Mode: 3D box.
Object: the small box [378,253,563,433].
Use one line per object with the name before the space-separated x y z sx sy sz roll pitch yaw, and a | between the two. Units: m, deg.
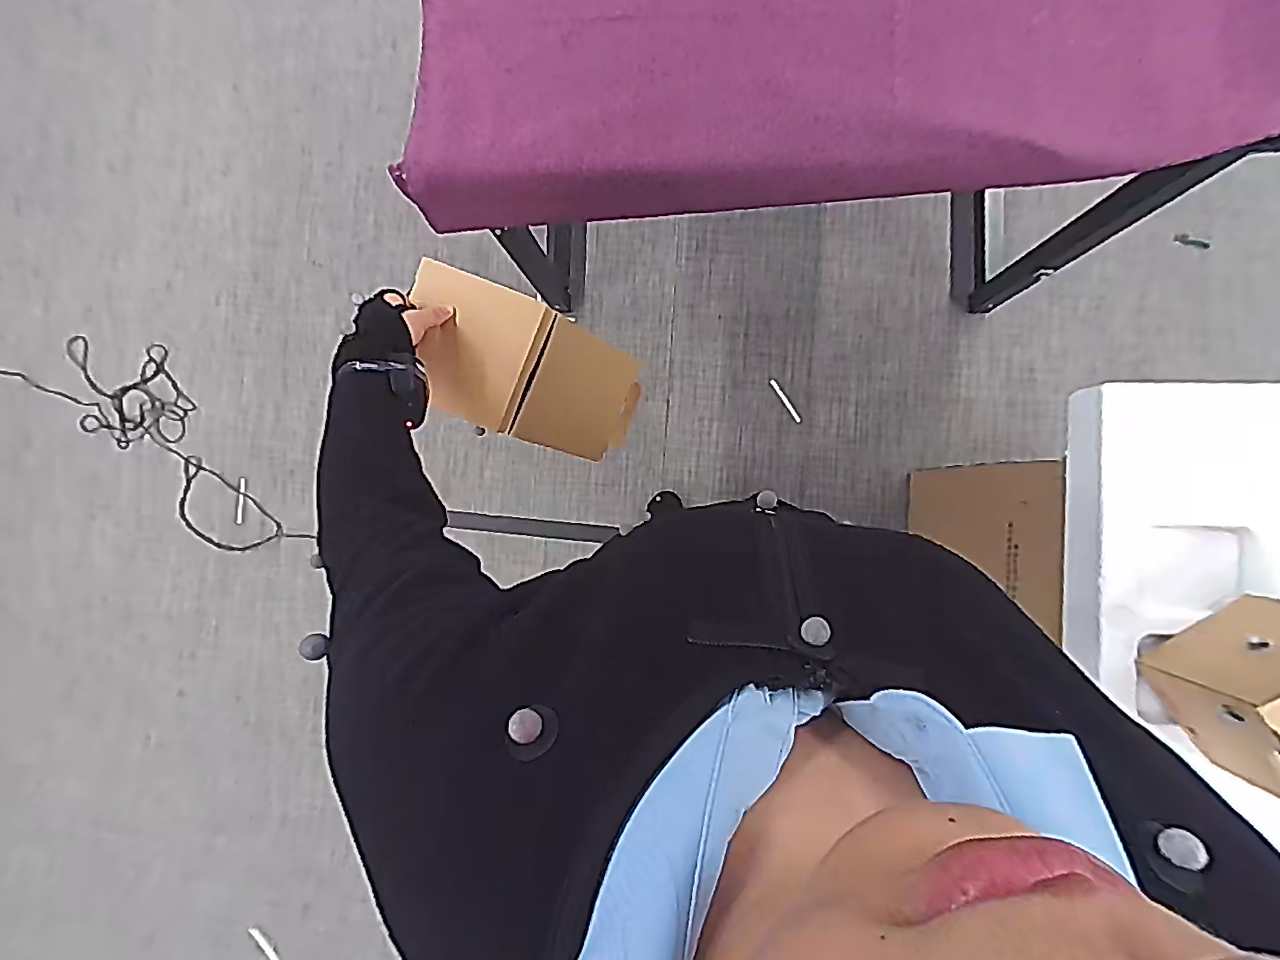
small box | -0.215 -0.176 0.739 0.179 0.176 0.168 23 94 -6
